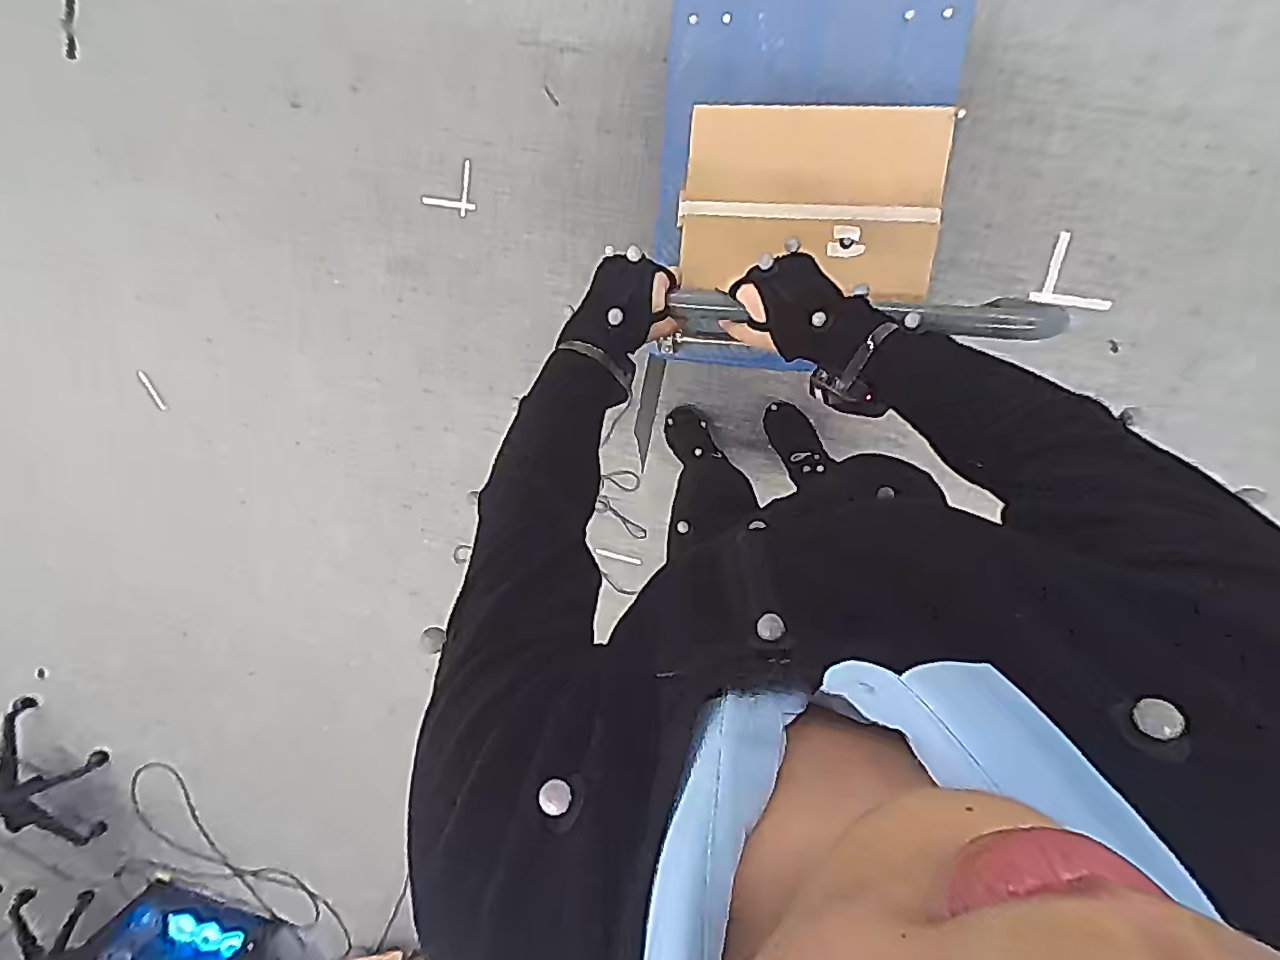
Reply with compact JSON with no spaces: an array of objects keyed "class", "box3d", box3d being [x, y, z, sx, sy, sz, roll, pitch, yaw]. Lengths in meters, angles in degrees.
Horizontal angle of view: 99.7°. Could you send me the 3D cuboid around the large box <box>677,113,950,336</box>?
[{"class":"large box","box3d":[0.289,-0.451,1.021,0.408,0.320,0.320,6,102,8]}]
